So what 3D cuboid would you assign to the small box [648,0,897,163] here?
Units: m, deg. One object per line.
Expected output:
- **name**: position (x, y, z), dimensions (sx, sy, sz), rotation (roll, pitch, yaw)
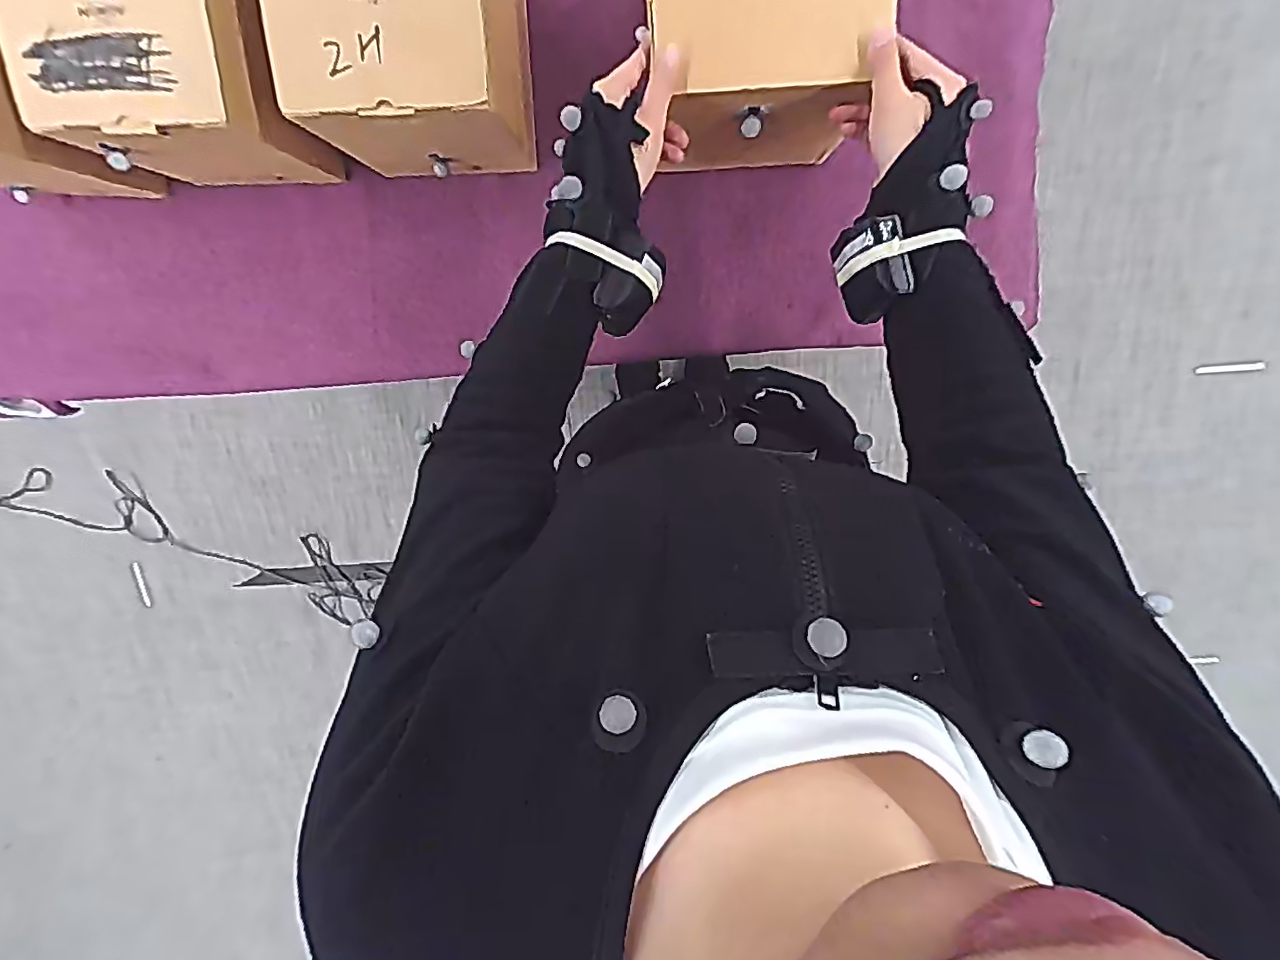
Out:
- **small box**: position (0.096, -0.384, 0.451), dimensions (0.179, 0.176, 0.168), rotation (-1, 103, 4)
